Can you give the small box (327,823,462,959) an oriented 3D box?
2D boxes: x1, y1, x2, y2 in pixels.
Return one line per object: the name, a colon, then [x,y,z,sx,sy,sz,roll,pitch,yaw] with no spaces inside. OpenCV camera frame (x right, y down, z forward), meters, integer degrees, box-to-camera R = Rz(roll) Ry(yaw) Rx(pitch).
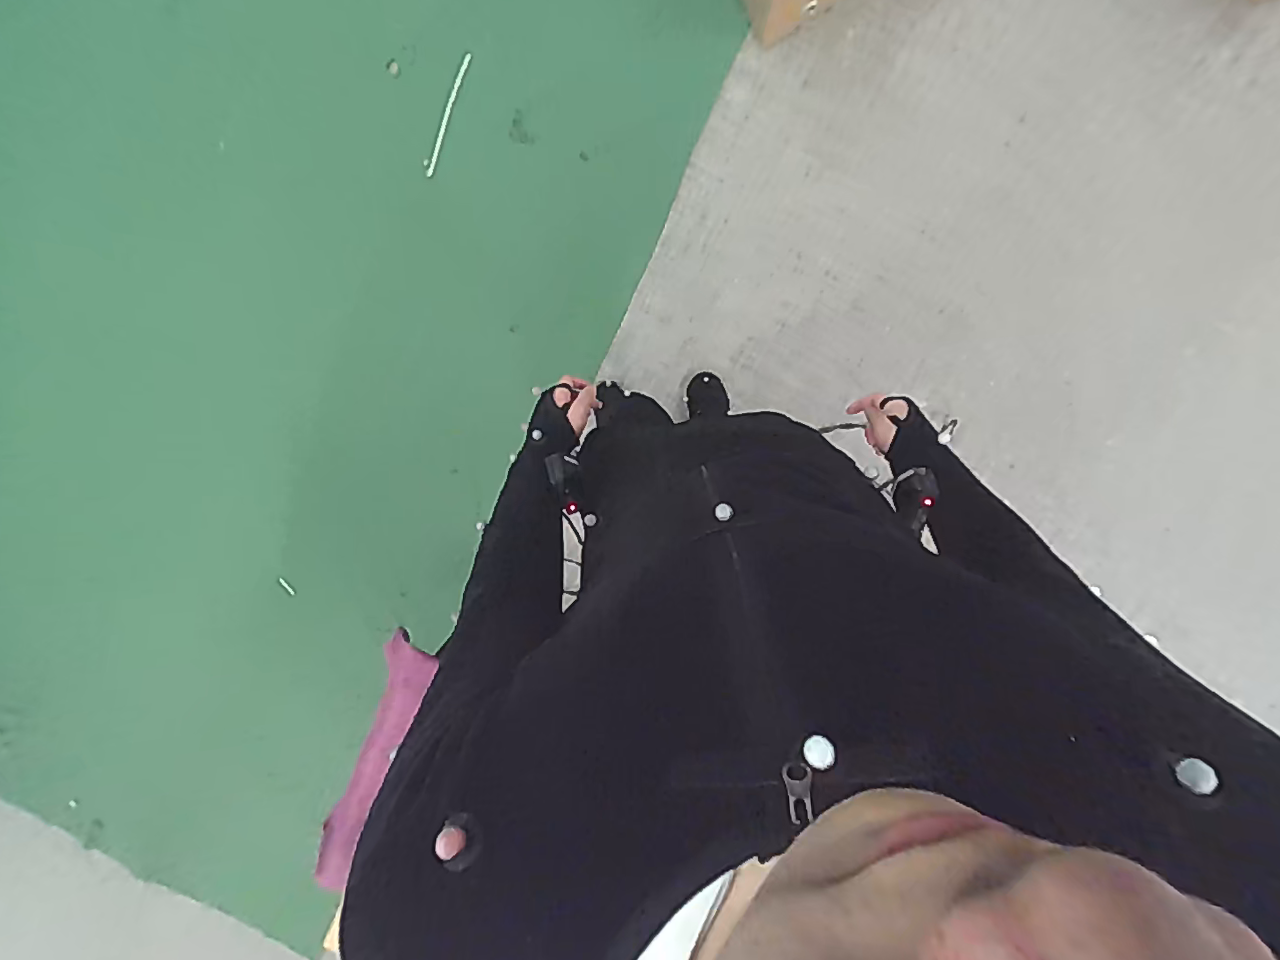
small box: [-0.485,0.849,1.092,0.168,0.176,0.179,27,106,-2]
